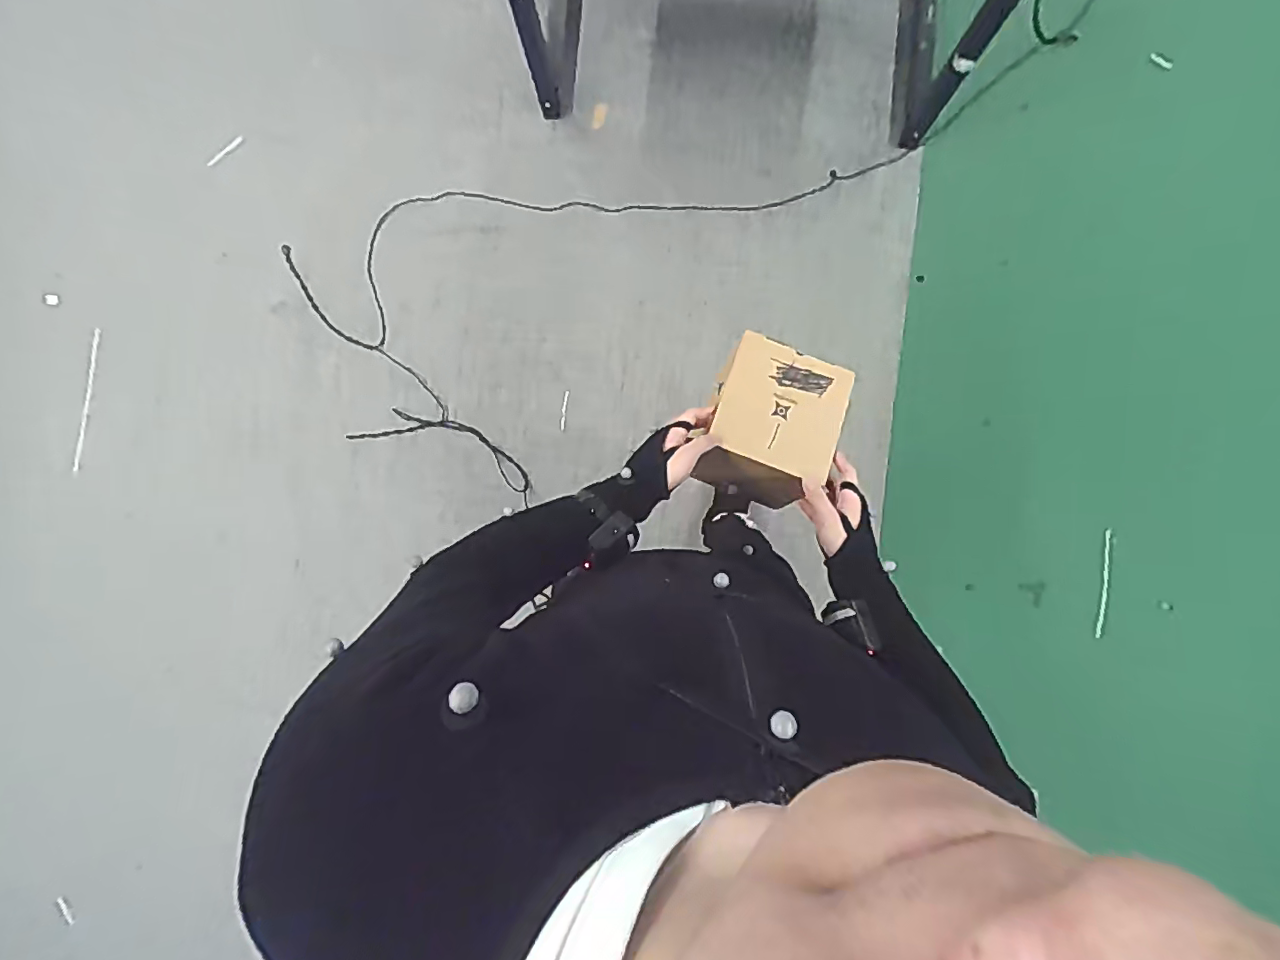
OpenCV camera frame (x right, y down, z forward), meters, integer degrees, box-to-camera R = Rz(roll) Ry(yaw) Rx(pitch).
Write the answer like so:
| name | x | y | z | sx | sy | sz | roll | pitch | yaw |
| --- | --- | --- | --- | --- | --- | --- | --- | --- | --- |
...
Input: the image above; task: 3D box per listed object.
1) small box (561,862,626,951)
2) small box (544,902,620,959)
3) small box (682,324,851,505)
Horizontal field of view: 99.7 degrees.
| name | x | y | z | sx | sy | sz | roll | pitch | yaw |
| --- | --- | --- | --- | --- | --- | --- | --- | --- | --- |
| small box | -0.130 | 1.154 | 1.426 | 0.168 | 0.176 | 0.179 | 9 | 86 | 3 |
| small box | -0.140 | 1.141 | 1.265 | 0.168 | 0.176 | 0.179 | 8 | 87 | 3 |
| small box | 0.171 | -0.083 | 0.776 | 0.168 | 0.176 | 0.179 | 20 | 74 | -1 |
